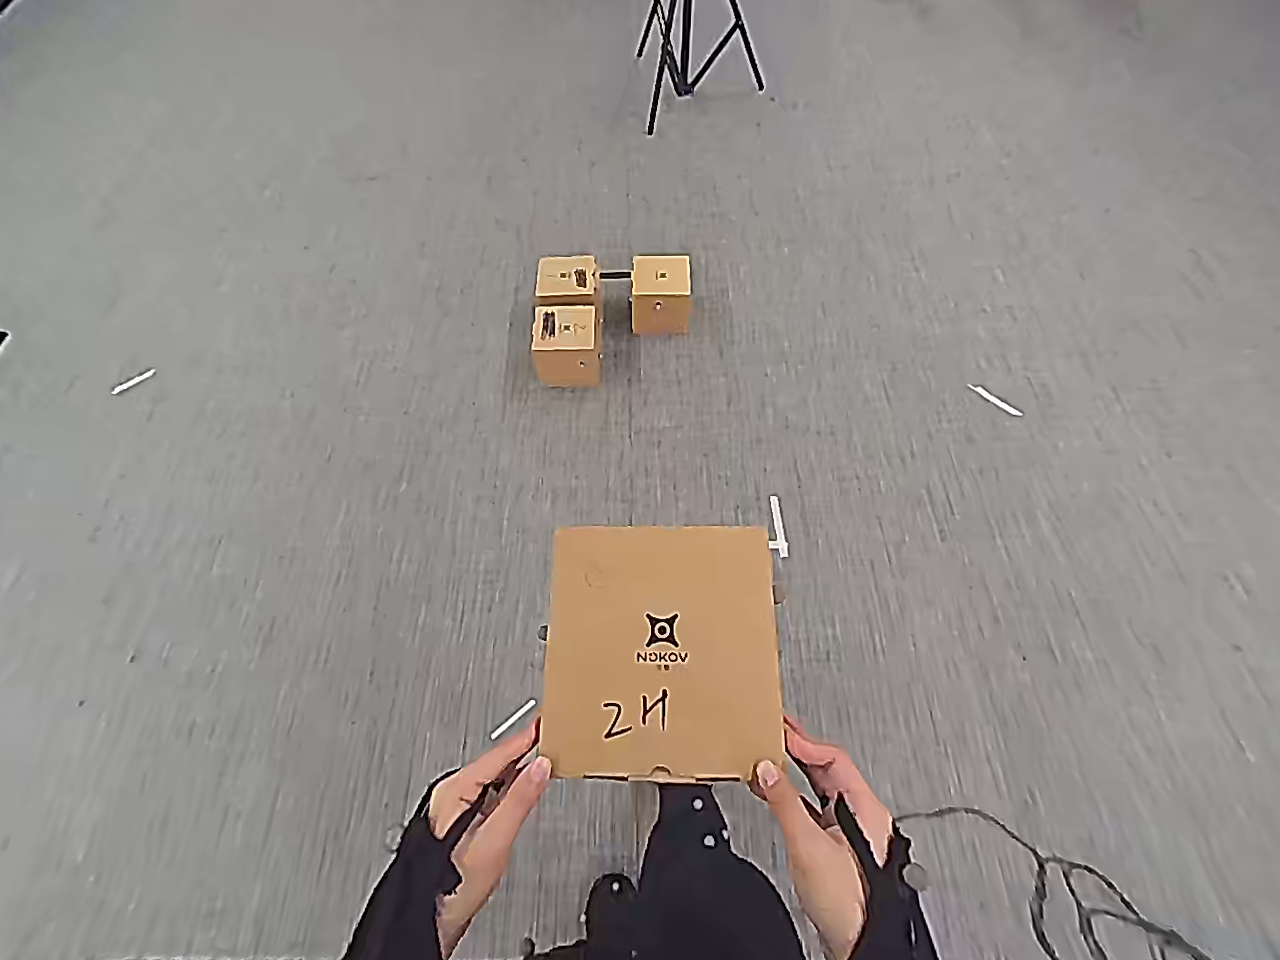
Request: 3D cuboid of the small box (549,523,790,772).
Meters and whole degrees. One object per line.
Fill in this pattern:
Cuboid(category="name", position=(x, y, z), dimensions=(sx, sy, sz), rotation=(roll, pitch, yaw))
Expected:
Cuboid(category="small box", position=(0.023, 0.146, 0.468), dimensions=(0.168, 0.176, 0.179), rotation=(-1, 67, 3))

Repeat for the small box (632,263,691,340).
Cuboid(category="small box", position=(0.065, -0.560, 1.705), dimensions=(0.179, 0.176, 0.168), rotation=(0, 63, 2))

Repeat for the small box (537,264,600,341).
Cuboid(category="small box", position=(-0.219, -0.556, 1.706), dimensions=(0.179, 0.176, 0.168), rotation=(-1, 63, 1))
